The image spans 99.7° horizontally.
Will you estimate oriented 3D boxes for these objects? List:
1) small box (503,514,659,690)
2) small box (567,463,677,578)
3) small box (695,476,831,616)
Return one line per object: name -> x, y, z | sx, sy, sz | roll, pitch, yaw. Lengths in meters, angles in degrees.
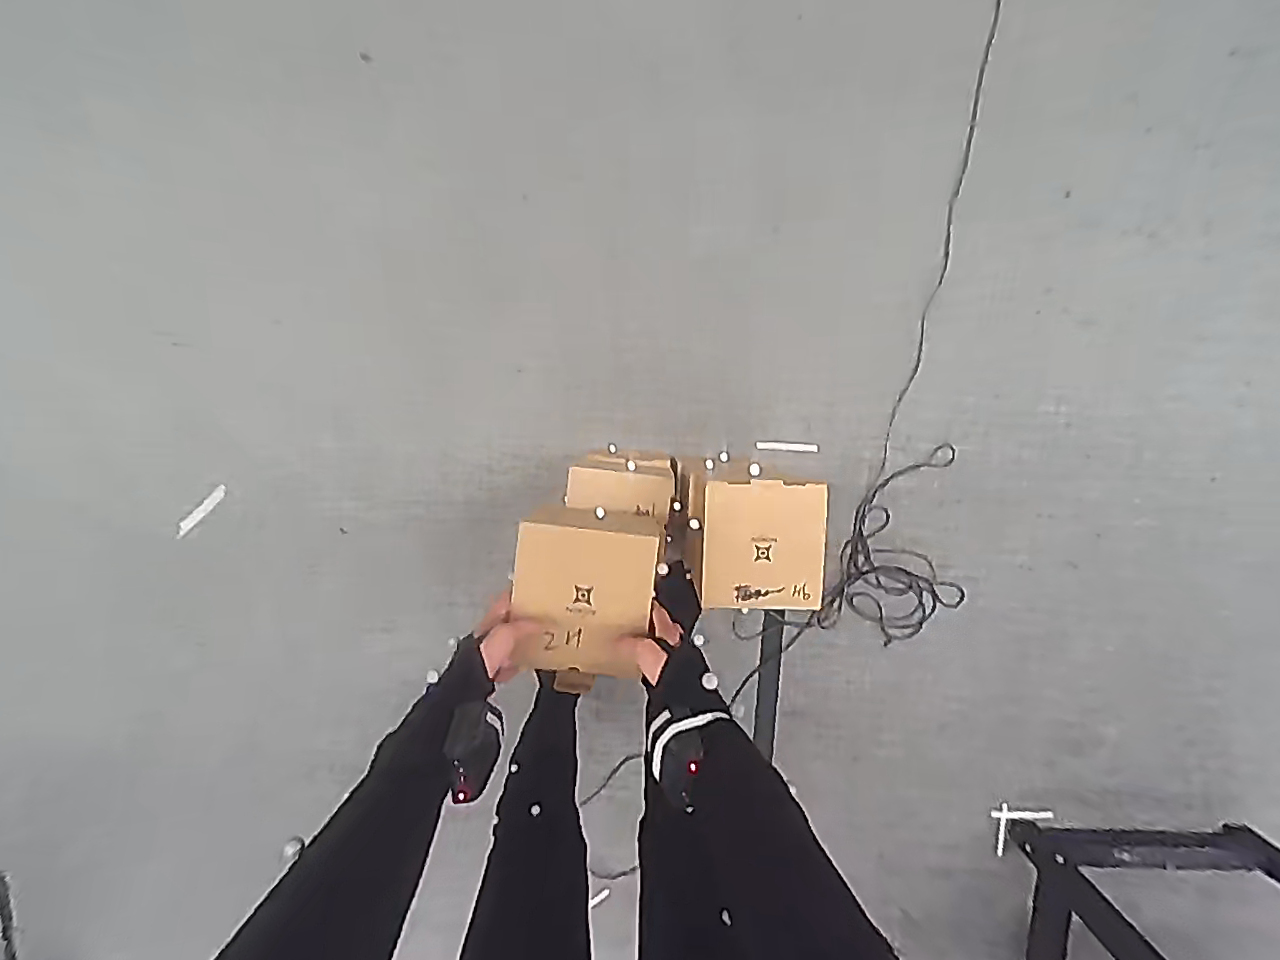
small box -> -0.069, 0.145, 0.702 | 0.168, 0.176, 0.179 | 7, 94, 0
small box -> -0.033, 0.064, 0.963 | 0.179, 0.176, 0.168 | 6, 97, 1
small box -> 0.169, 0.087, 0.795 | 0.168, 0.176, 0.179 | 1, 96, 2
